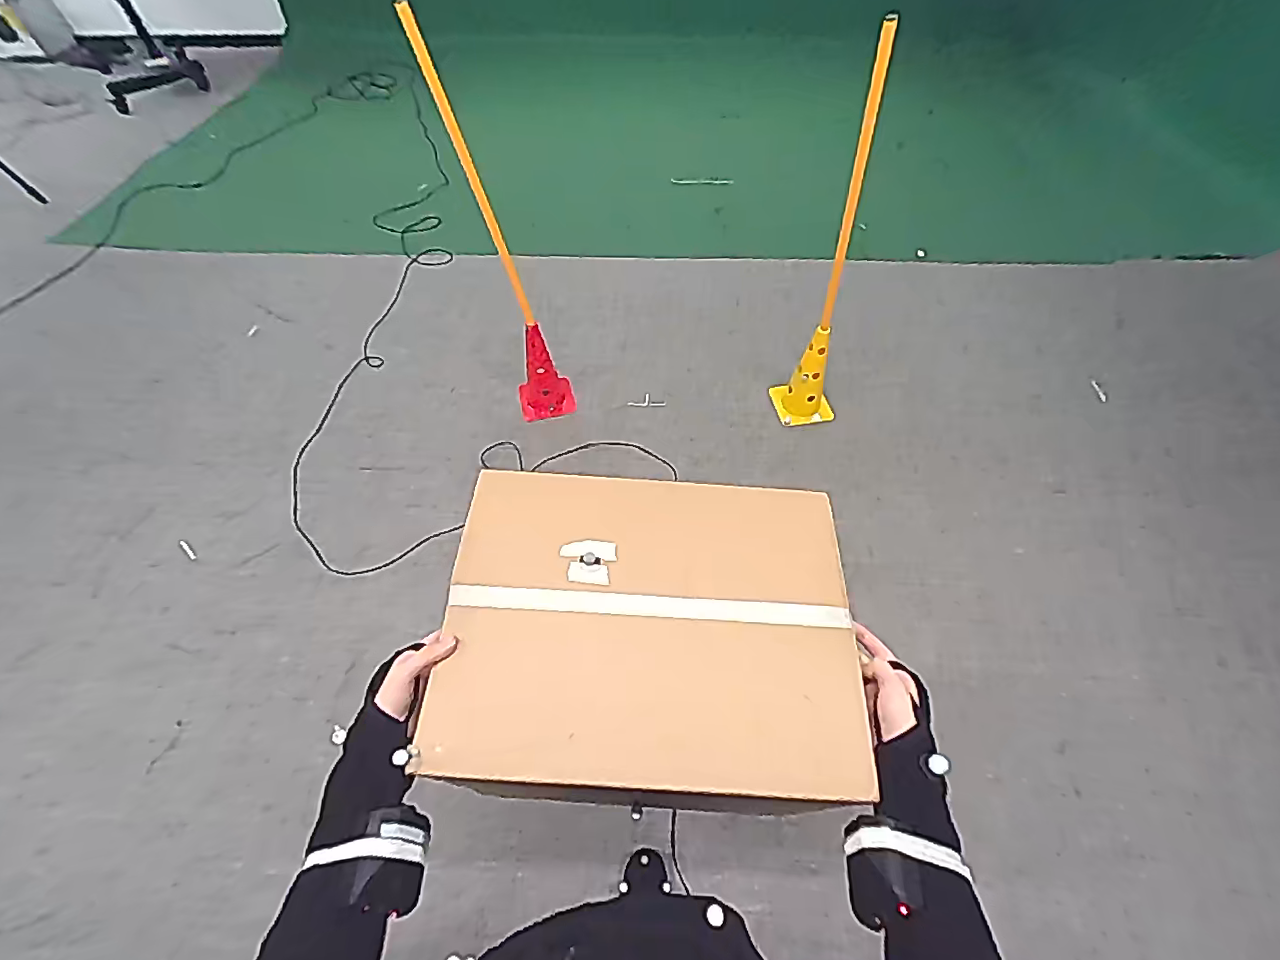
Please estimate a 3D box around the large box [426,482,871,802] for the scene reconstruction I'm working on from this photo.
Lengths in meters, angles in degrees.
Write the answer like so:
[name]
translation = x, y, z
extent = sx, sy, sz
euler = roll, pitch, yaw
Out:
[large box]
translation = 0.011, 0.219, 0.682
extent = 0.408, 0.320, 0.320
euler = 3, 56, 0
